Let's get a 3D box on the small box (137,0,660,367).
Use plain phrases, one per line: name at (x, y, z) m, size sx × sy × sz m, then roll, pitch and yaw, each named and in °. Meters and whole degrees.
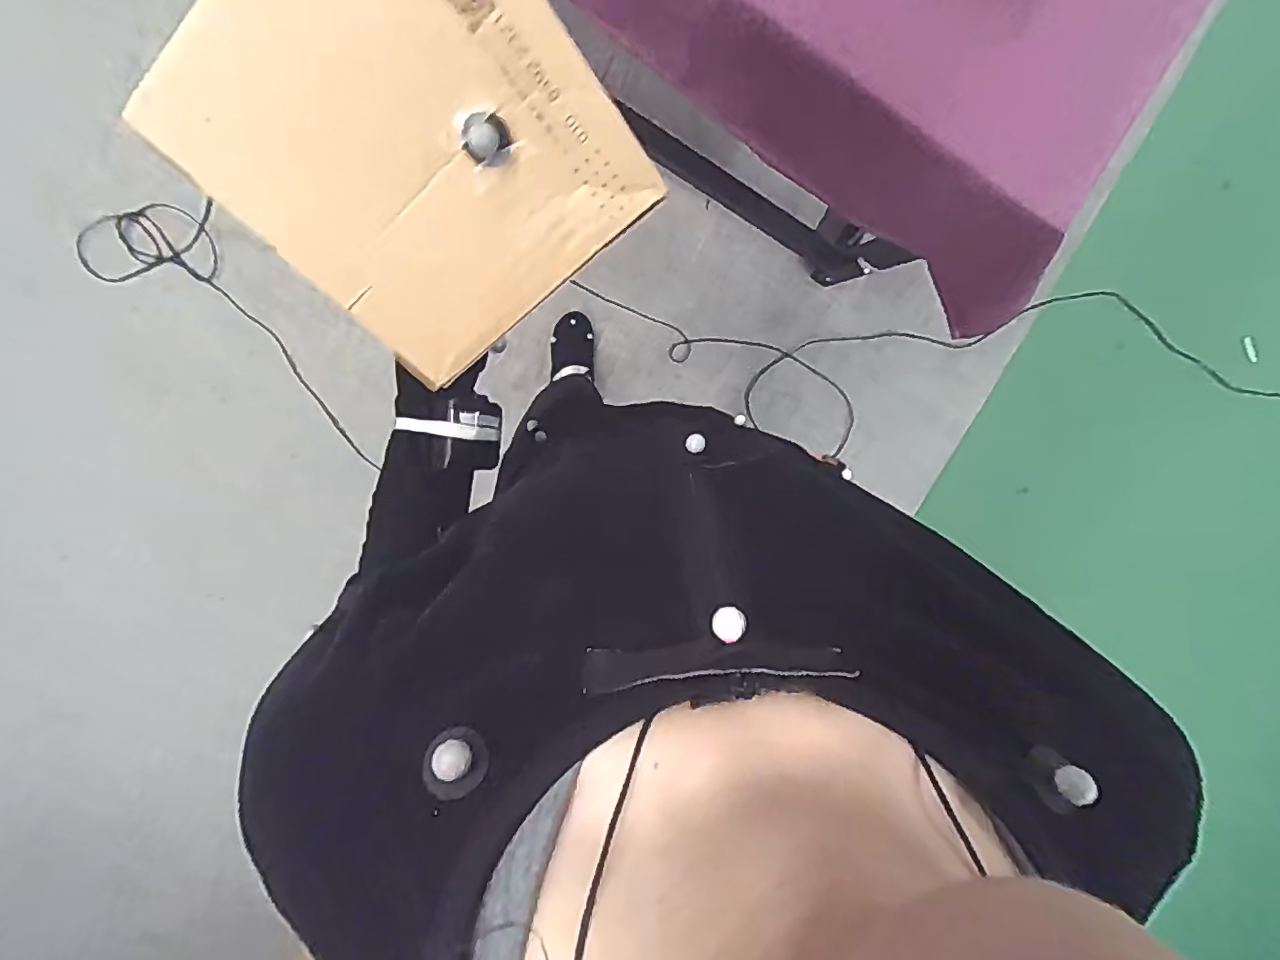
small box at (-0.106, -0.205, 0.309) m, size 0.176 × 0.179 × 0.168 m, roll -34°, pitch 124°, yaw 17°
